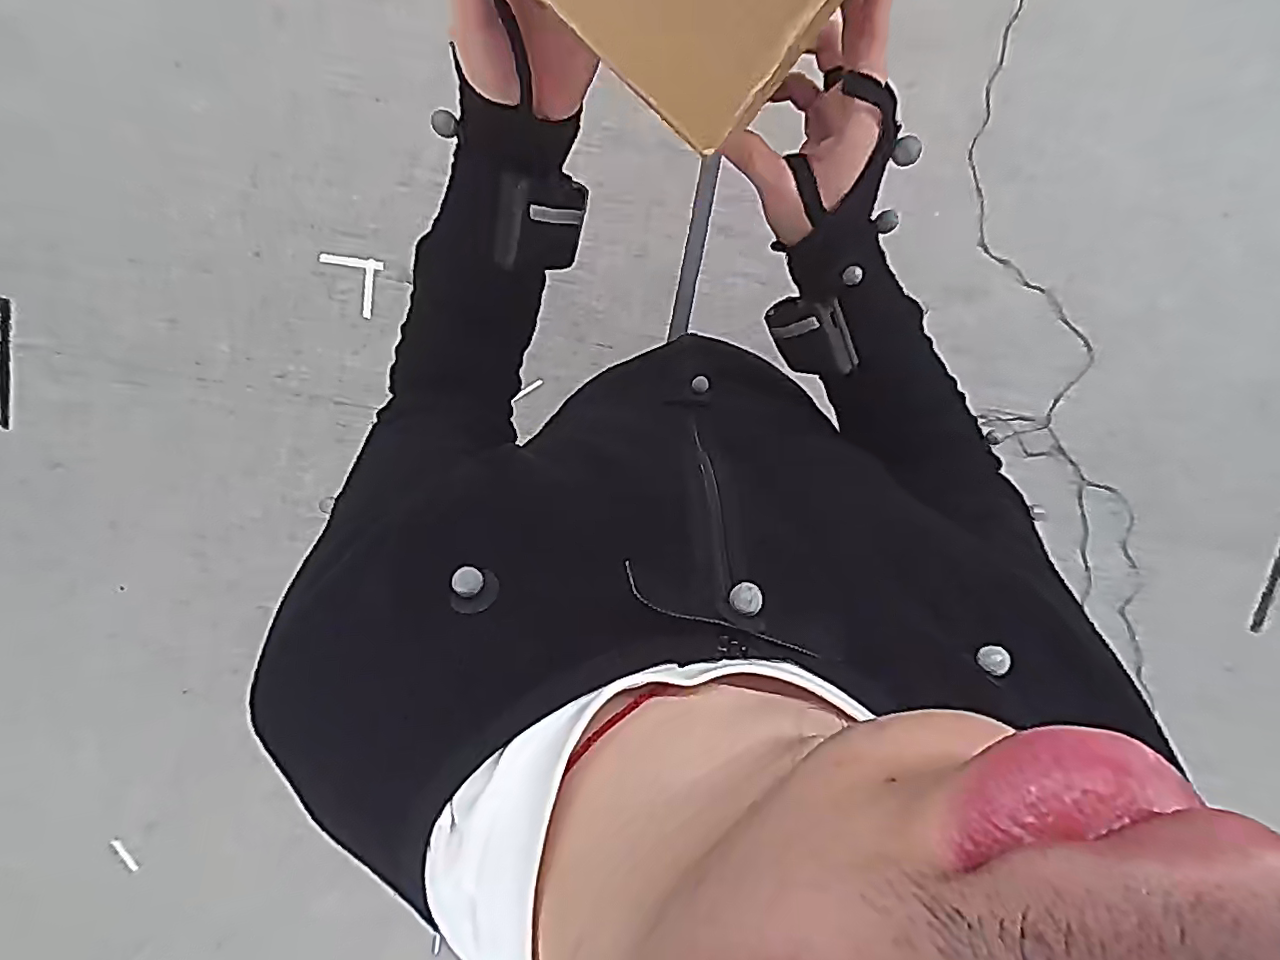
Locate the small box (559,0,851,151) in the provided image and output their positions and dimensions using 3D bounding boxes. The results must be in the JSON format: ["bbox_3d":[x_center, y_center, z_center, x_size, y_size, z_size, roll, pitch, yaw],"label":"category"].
[{"bbox_3d":[0.036,-0.263,0.196,0.168,0.176,0.179,38,128,-11],"label":"small box"}]
